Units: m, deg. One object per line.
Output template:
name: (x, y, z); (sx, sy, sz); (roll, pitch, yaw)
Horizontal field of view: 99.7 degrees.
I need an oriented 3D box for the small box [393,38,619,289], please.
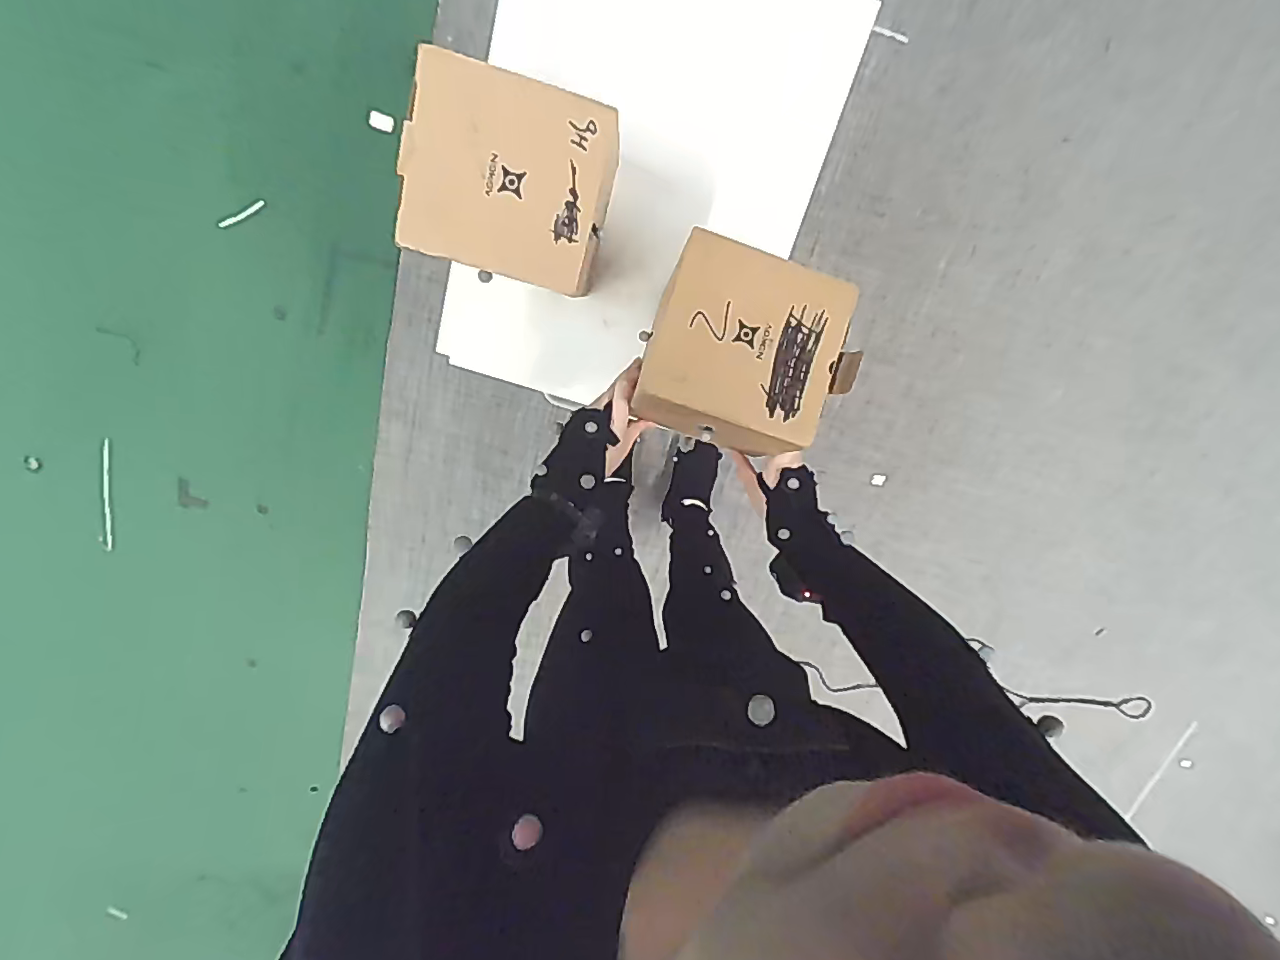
small box: (-0.126, -0.304, 0.565); (0.179, 0.176, 0.168); (15, 107, -6)
